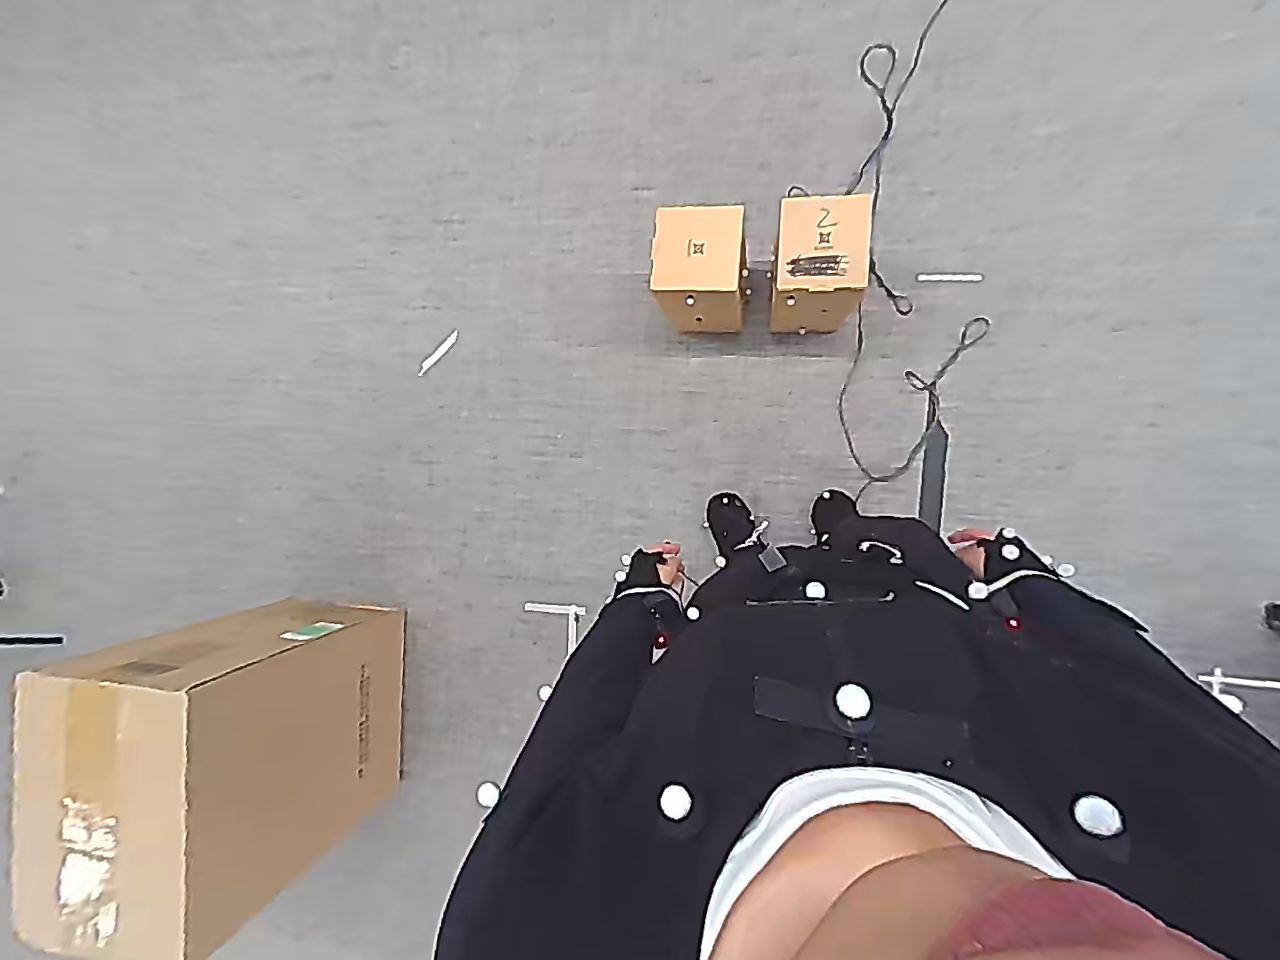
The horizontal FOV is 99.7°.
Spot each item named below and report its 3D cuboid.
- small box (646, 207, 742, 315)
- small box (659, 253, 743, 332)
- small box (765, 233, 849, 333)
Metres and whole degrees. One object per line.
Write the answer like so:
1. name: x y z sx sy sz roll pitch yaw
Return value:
1. small box: 0.120 -0.453 1.137 0.179 0.176 0.168 5 92 13
2. small box: 0.152 -0.456 1.296 0.179 0.176 0.168 4 92 12
3. small box: 0.379 -0.449 1.251 0.168 0.176 0.179 3 92 11
